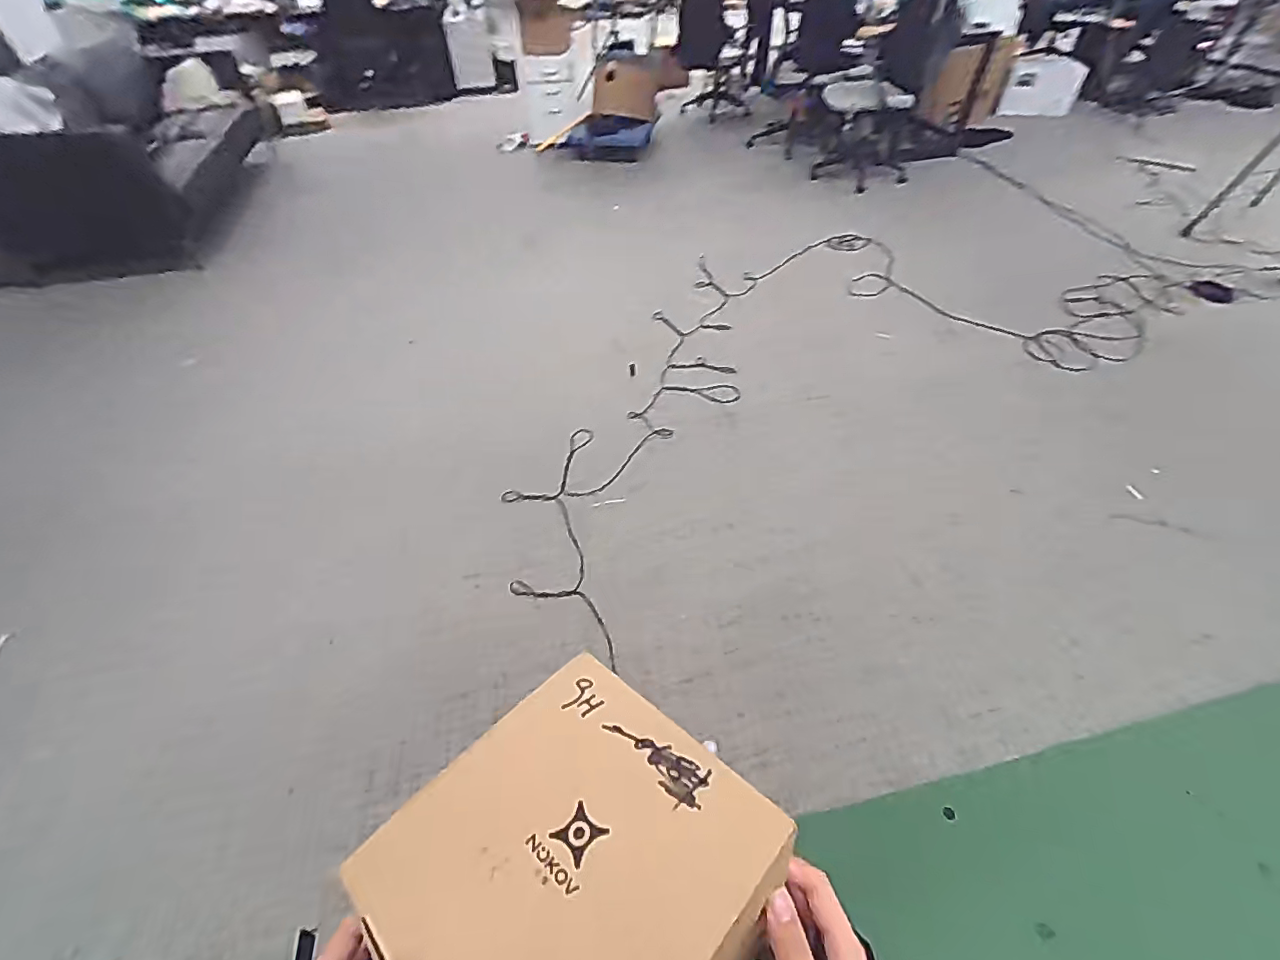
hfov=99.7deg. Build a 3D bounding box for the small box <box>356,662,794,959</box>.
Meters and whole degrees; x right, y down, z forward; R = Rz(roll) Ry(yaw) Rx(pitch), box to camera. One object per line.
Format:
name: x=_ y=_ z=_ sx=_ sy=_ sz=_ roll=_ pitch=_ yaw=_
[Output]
small box: x=-0.026 y=0.260 z=0.328 sx=0.168 sy=0.176 sz=0.179 roll=27 pitch=48 yaw=36
